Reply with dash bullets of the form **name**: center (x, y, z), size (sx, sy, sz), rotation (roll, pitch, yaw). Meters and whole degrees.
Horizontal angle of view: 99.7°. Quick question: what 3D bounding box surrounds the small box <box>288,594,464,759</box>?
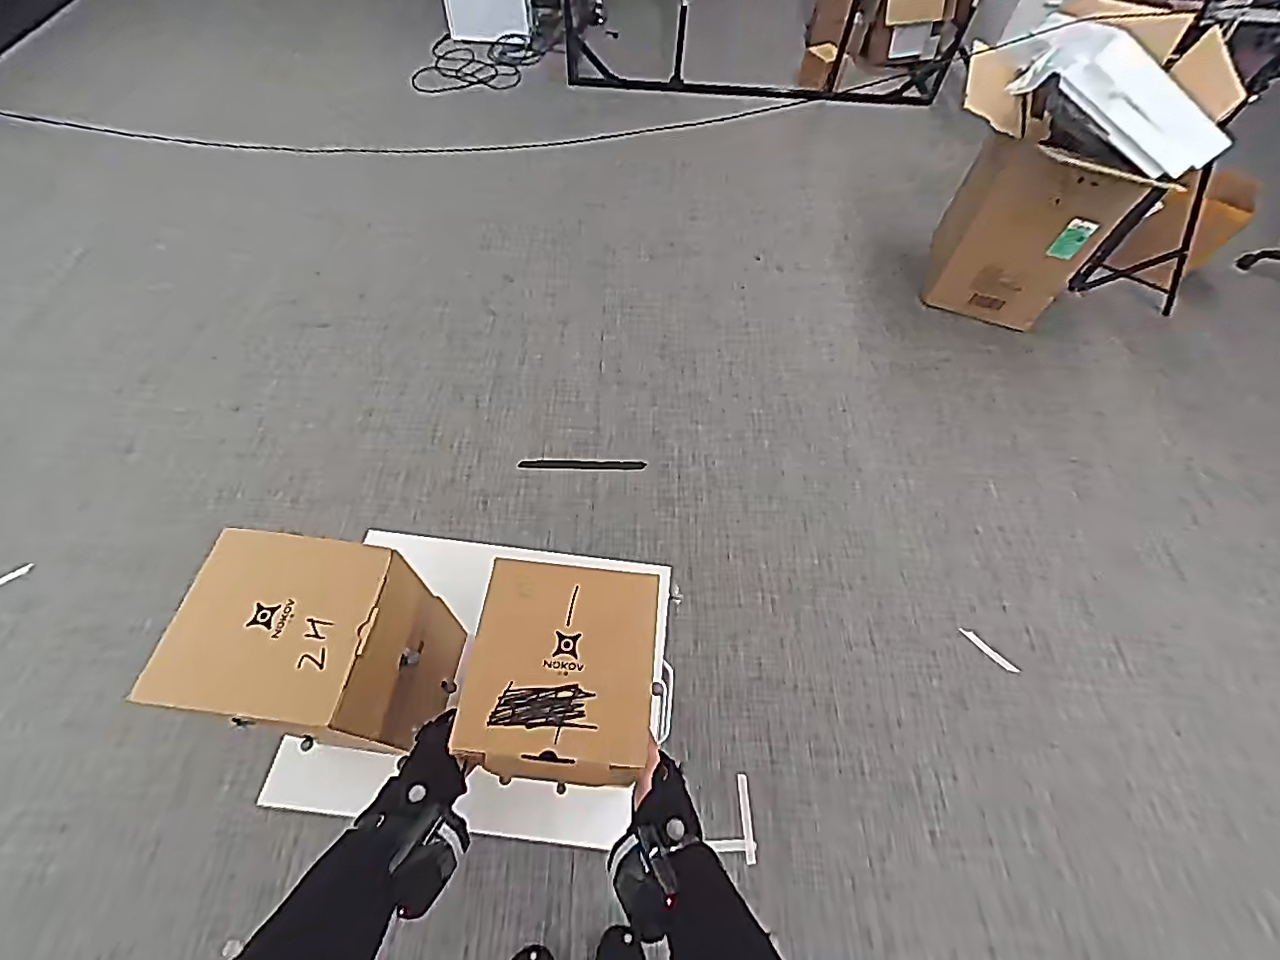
- **small box**: center (-0.343, 0.249, 0.706), size (0.168, 0.176, 0.179), rotation (8, 58, 2)

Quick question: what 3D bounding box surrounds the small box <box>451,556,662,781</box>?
- **small box**: center (-0.073, 0.200, 0.555), size (0.168, 0.176, 0.179), rotation (7, 57, -1)

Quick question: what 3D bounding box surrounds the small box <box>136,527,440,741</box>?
- **small box**: center (-0.336, 0.167, 0.563), size (0.179, 0.176, 0.168), rotation (8, 59, 1)
